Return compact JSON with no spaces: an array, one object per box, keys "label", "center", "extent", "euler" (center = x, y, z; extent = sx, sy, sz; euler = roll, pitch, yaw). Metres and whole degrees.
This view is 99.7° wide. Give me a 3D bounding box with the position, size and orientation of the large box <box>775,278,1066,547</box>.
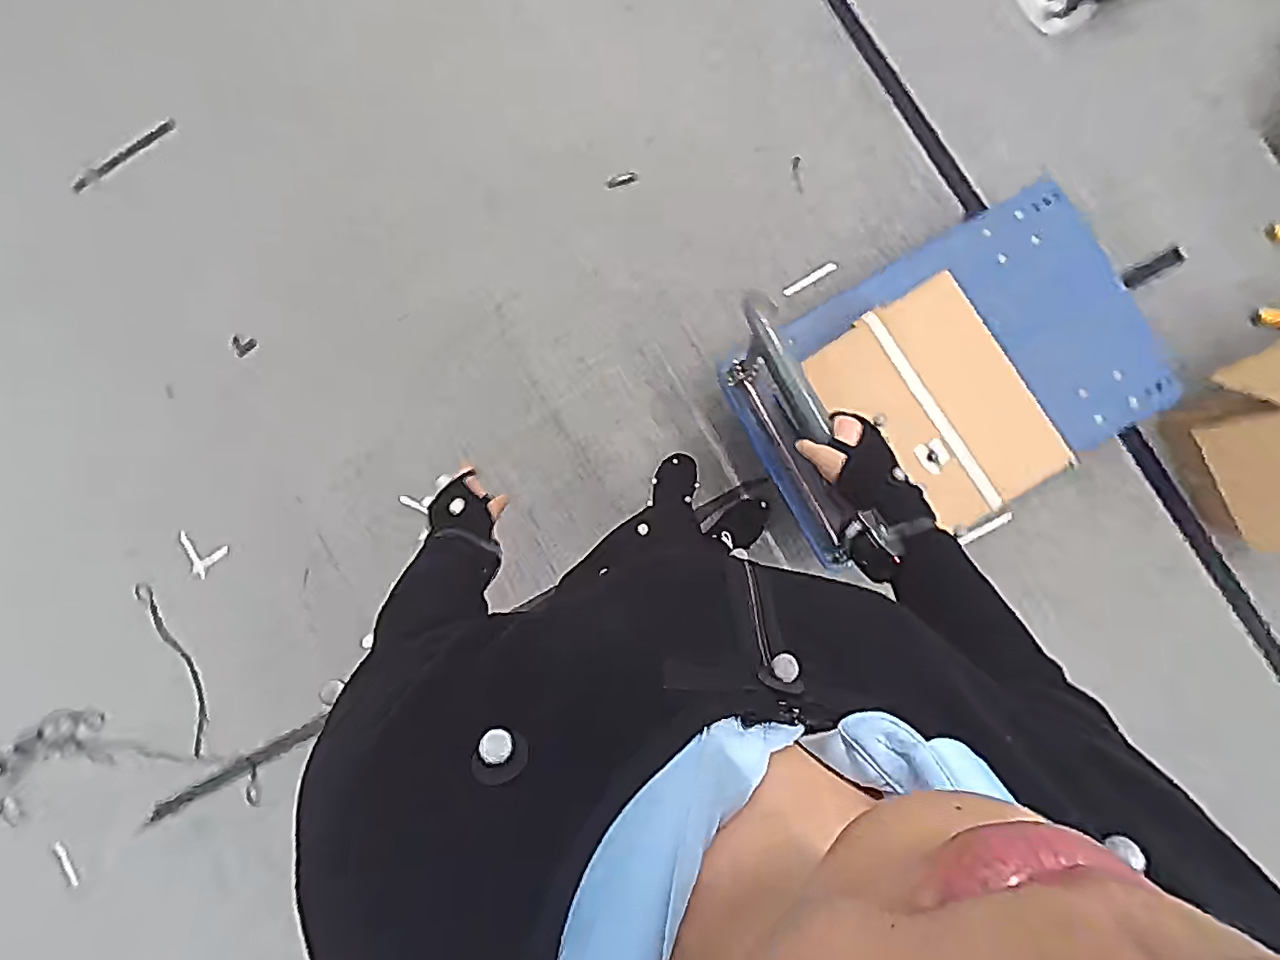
[{"label":"large box","center":[0.537,-0.124,1.126],"extent":[0.320,0.320,0.408],"euler":[-32,88,6]}]
